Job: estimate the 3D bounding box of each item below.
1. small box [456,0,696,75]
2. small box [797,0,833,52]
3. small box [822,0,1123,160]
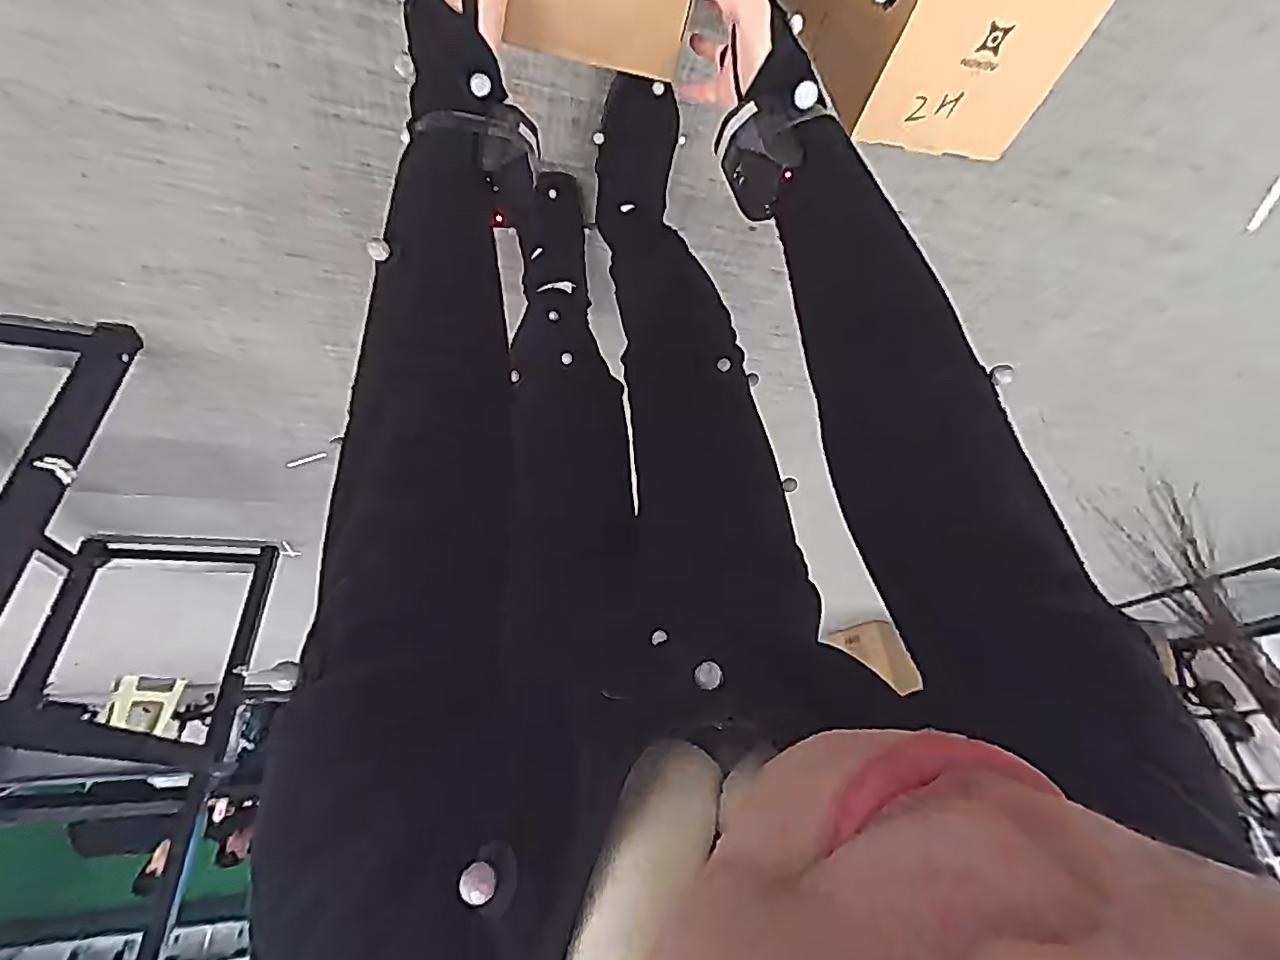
[{"bbox_3d":[-0.040,-0.451,0.399,0.179,0.176,0.168,4,150,-14],"label":"small box"},{"bbox_3d":[0.274,-0.575,0.563,0.168,0.176,0.179,1,150,-10],"label":"small box"},{"bbox_3d":[0.286,-0.431,0.484,0.168,0.176,0.179,2,151,-11],"label":"small box"}]
